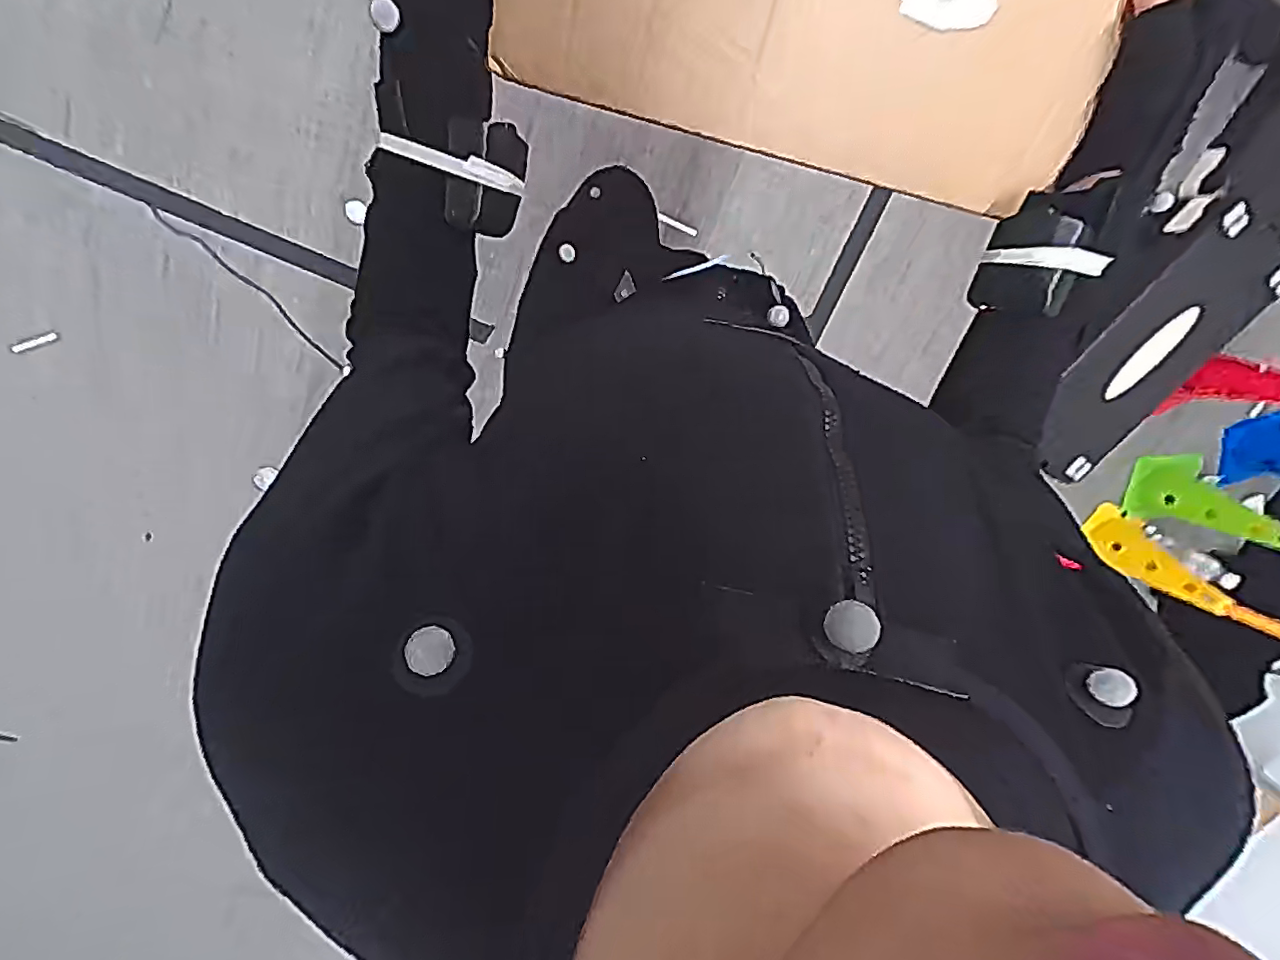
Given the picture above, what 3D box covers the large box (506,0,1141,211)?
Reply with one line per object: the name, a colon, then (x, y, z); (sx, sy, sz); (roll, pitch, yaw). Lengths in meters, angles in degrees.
large box: (0.127, -0.446, 0.424); (0.408, 0.320, 0.320); (9, 127, -9)
